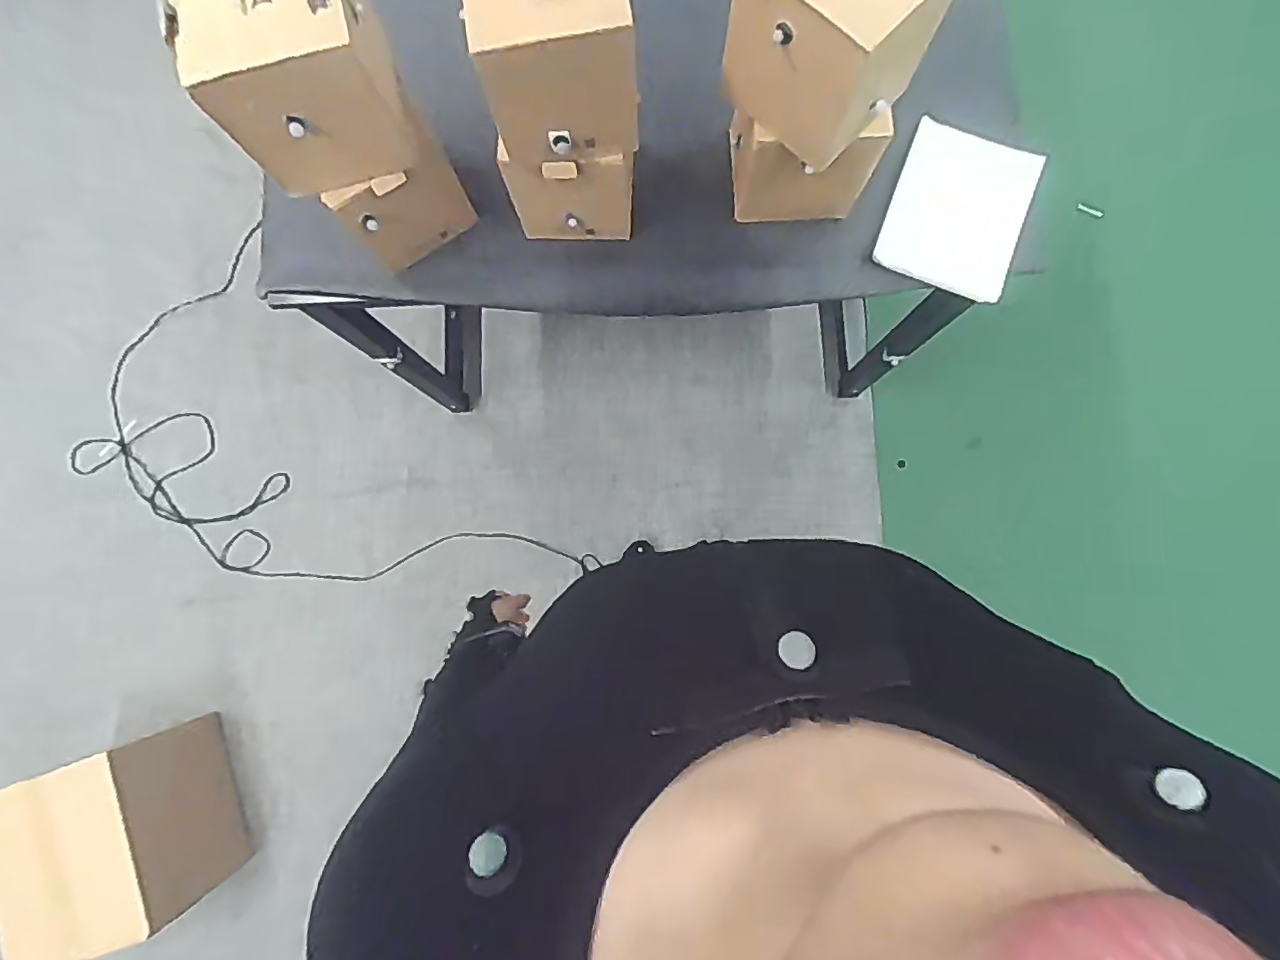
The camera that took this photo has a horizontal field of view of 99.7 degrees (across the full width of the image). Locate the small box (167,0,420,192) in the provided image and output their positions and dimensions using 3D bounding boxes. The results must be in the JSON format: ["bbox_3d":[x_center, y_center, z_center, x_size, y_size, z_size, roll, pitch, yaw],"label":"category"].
[{"bbox_3d":[-0.387,-0.472,0.624,0.179,0.176,0.168,-16,82,1],"label":"small box"}]

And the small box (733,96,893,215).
[{"bbox_3d":[0.233,-0.505,0.770,0.179,0.176,0.168,-2,82,3],"label":"small box"}]

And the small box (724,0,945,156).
[{"bbox_3d":[0.213,-0.518,0.606,0.179,0.176,0.168,45,86,7],"label":"small box"}]

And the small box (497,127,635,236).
[{"bbox_3d":[-0.096,-0.482,0.780,0.168,0.176,0.179,1,82,3],"label":"small box"}]

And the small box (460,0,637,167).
[{"bbox_3d":[-0.099,-0.504,0.618,0.168,0.176,0.179,-10,82,2],"label":"small box"}]
